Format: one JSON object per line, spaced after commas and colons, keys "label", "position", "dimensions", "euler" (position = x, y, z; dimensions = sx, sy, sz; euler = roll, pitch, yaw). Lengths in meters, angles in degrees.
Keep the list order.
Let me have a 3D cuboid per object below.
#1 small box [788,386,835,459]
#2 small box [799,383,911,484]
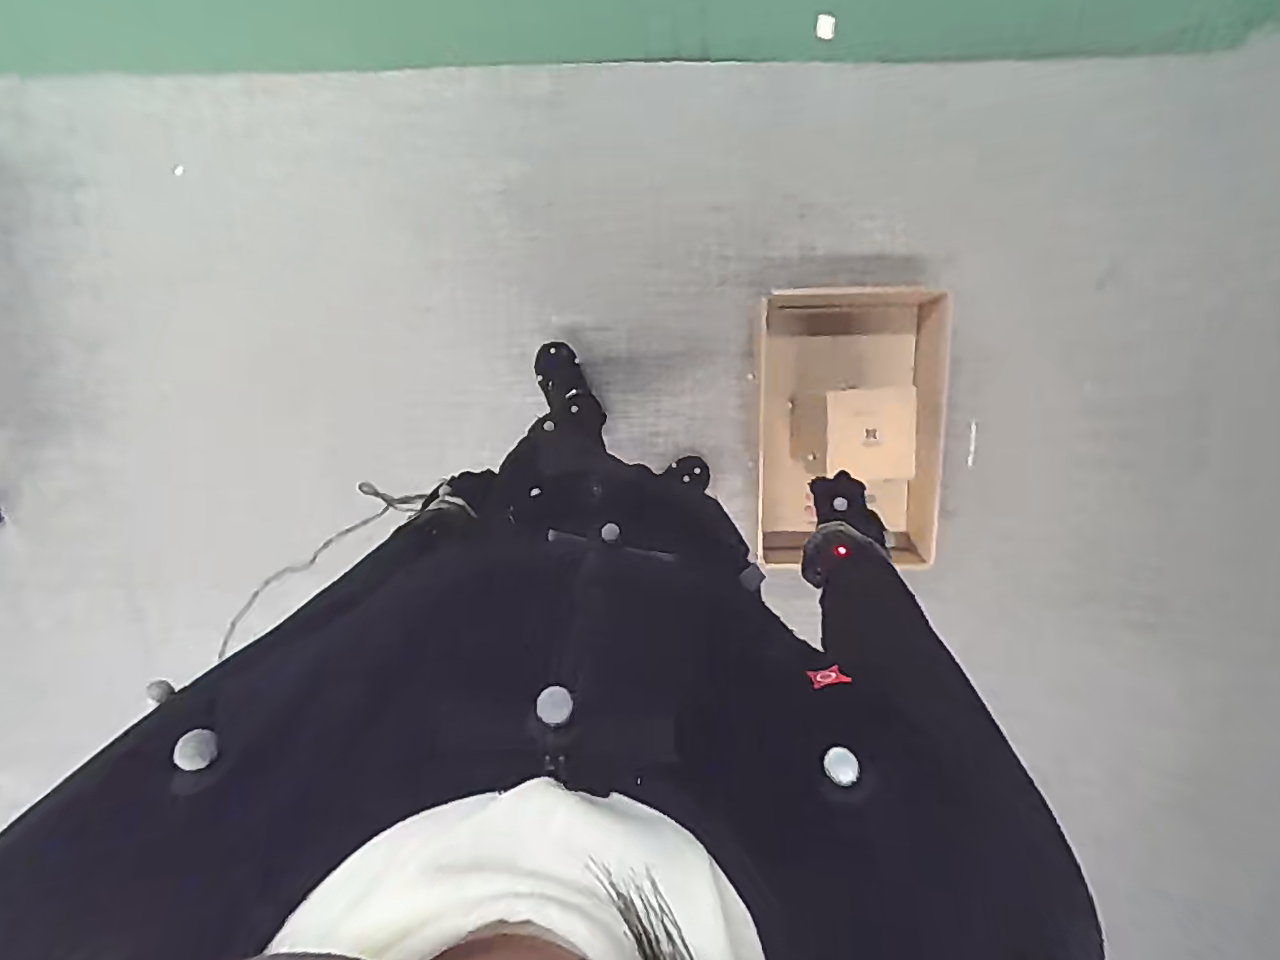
{"label": "small box", "position": [0.448, -0.133, 1.256], "dimensions": [0.179, 0.176, 0.168], "euler": [0, 99, 2]}
{"label": "small box", "position": [0.423, -0.099, 1.082], "dimensions": [0.168, 0.176, 0.179], "euler": [-6, 99, 3]}
